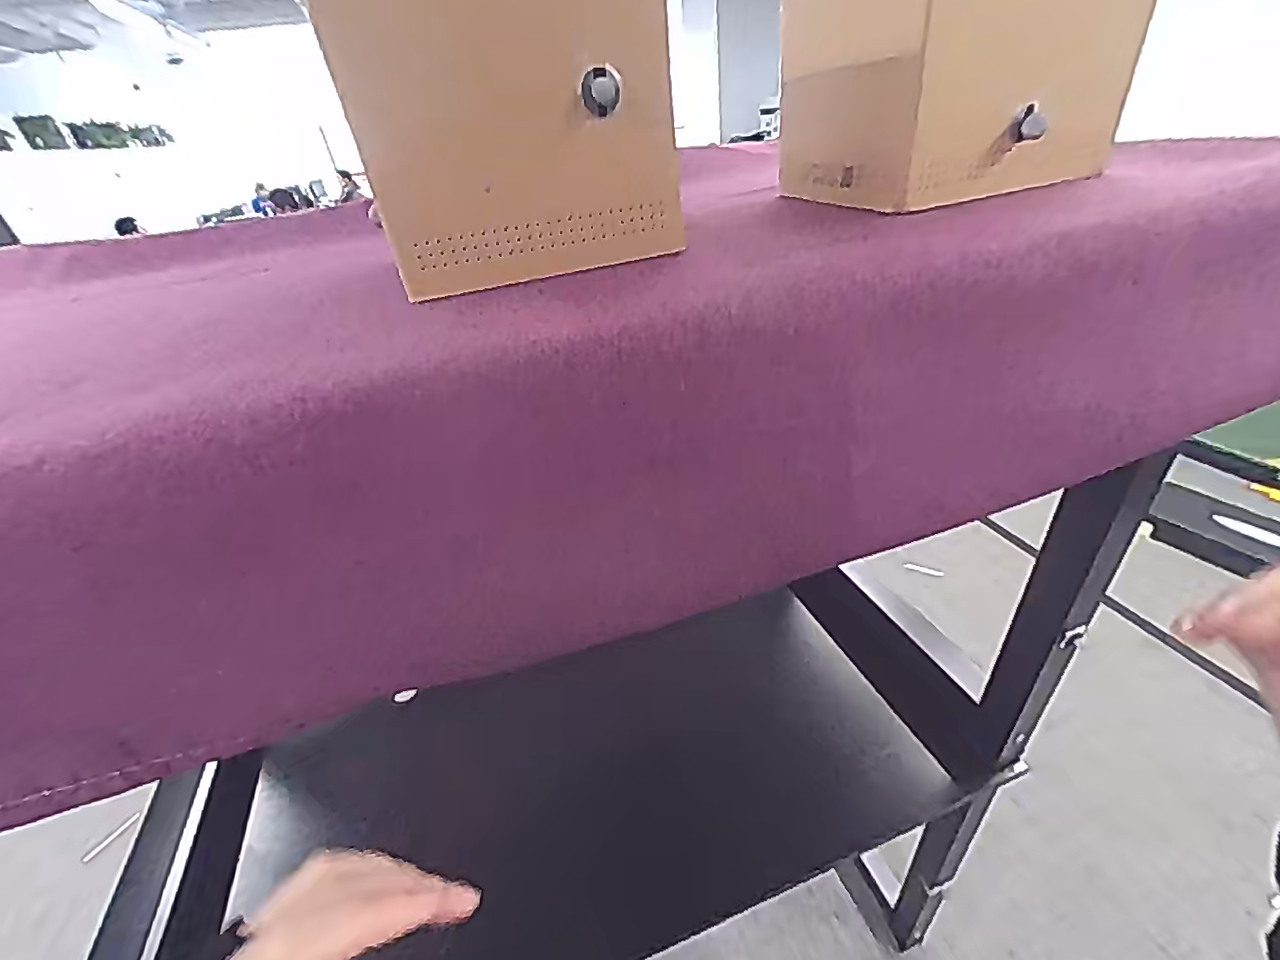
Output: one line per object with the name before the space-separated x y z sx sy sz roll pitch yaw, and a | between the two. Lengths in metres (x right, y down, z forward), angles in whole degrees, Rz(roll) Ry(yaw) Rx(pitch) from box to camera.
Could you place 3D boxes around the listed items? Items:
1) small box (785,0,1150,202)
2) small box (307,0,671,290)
small box | 0.220 -0.313 0.391 0.179 0.176 0.168 -15 33 -11
small box | -0.085 -0.238 0.351 0.179 0.176 0.168 -16 34 -10
